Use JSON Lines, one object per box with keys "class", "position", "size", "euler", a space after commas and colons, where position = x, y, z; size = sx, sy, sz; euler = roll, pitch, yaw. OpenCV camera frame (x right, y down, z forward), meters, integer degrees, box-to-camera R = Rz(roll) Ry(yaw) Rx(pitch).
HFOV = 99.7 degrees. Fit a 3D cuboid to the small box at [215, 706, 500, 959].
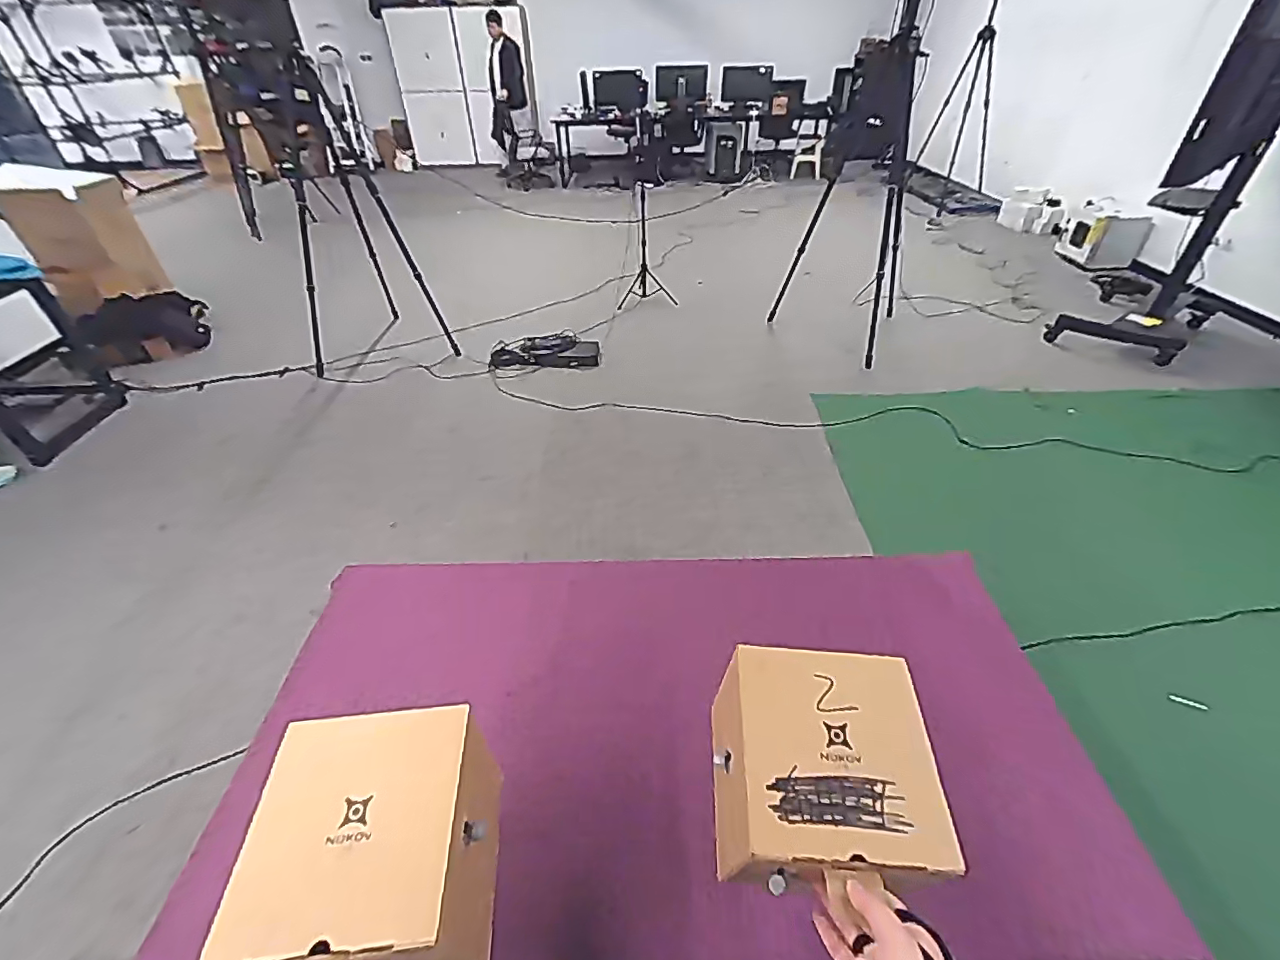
{"class": "small box", "position": [-0.232, 0.340, 0.507], "size": [0.168, 0.176, 0.179], "euler": [-5, 43, -3]}
